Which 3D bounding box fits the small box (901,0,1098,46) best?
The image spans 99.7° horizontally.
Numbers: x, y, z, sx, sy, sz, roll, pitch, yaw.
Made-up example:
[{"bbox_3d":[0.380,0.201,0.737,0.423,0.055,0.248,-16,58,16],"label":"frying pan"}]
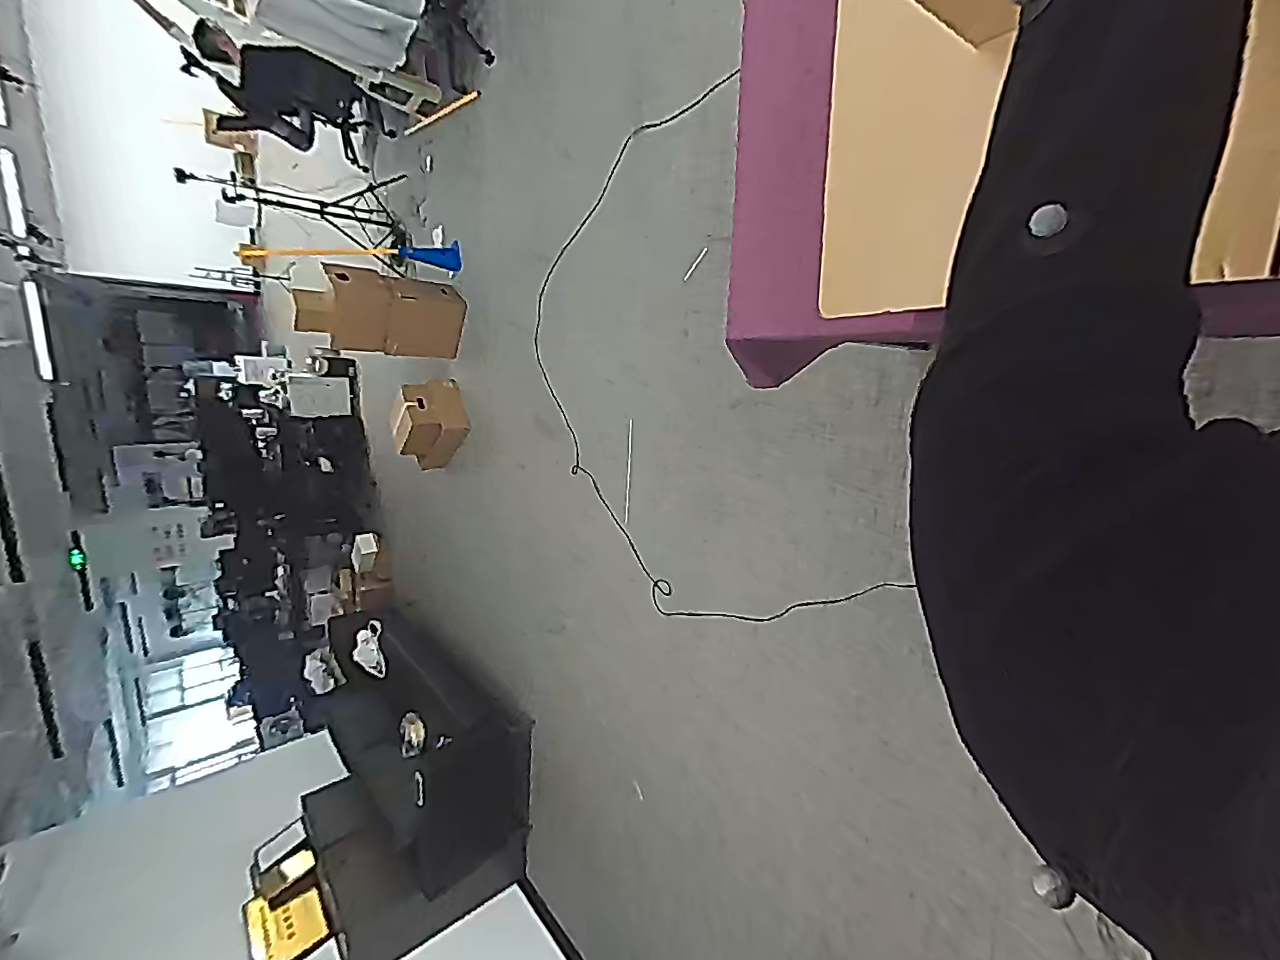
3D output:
[{"bbox_3d":[0.324,-0.490,0.420,0.179,0.176,0.168,18,110,54],"label":"small box"}]
